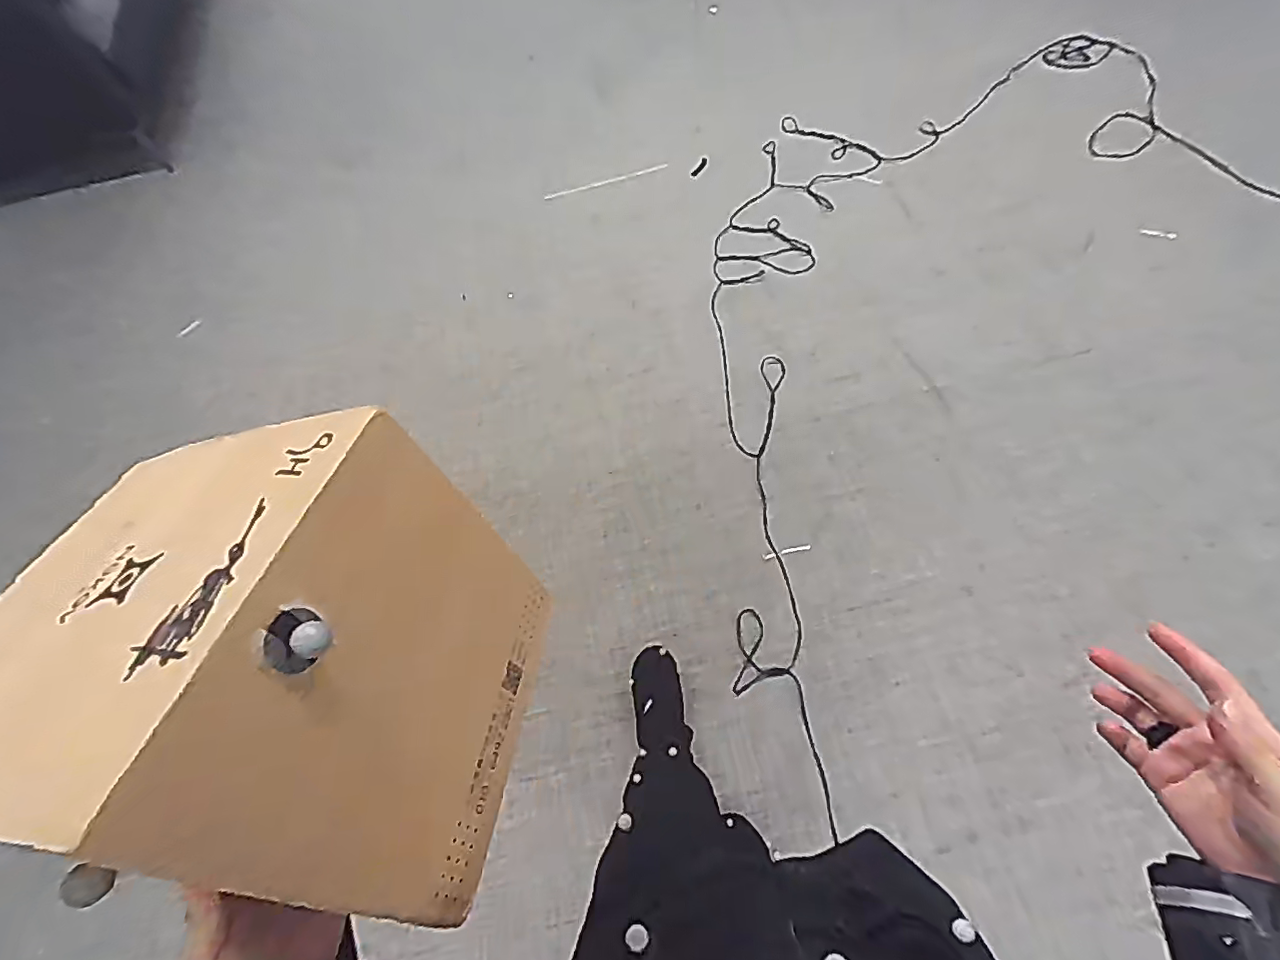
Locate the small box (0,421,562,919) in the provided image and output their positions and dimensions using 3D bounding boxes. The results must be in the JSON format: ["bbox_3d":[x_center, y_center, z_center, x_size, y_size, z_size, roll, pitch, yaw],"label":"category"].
[{"bbox_3d":[-0.166,0.099,0.270,0.179,0.176,0.168,-9,46,20],"label":"small box"}]
